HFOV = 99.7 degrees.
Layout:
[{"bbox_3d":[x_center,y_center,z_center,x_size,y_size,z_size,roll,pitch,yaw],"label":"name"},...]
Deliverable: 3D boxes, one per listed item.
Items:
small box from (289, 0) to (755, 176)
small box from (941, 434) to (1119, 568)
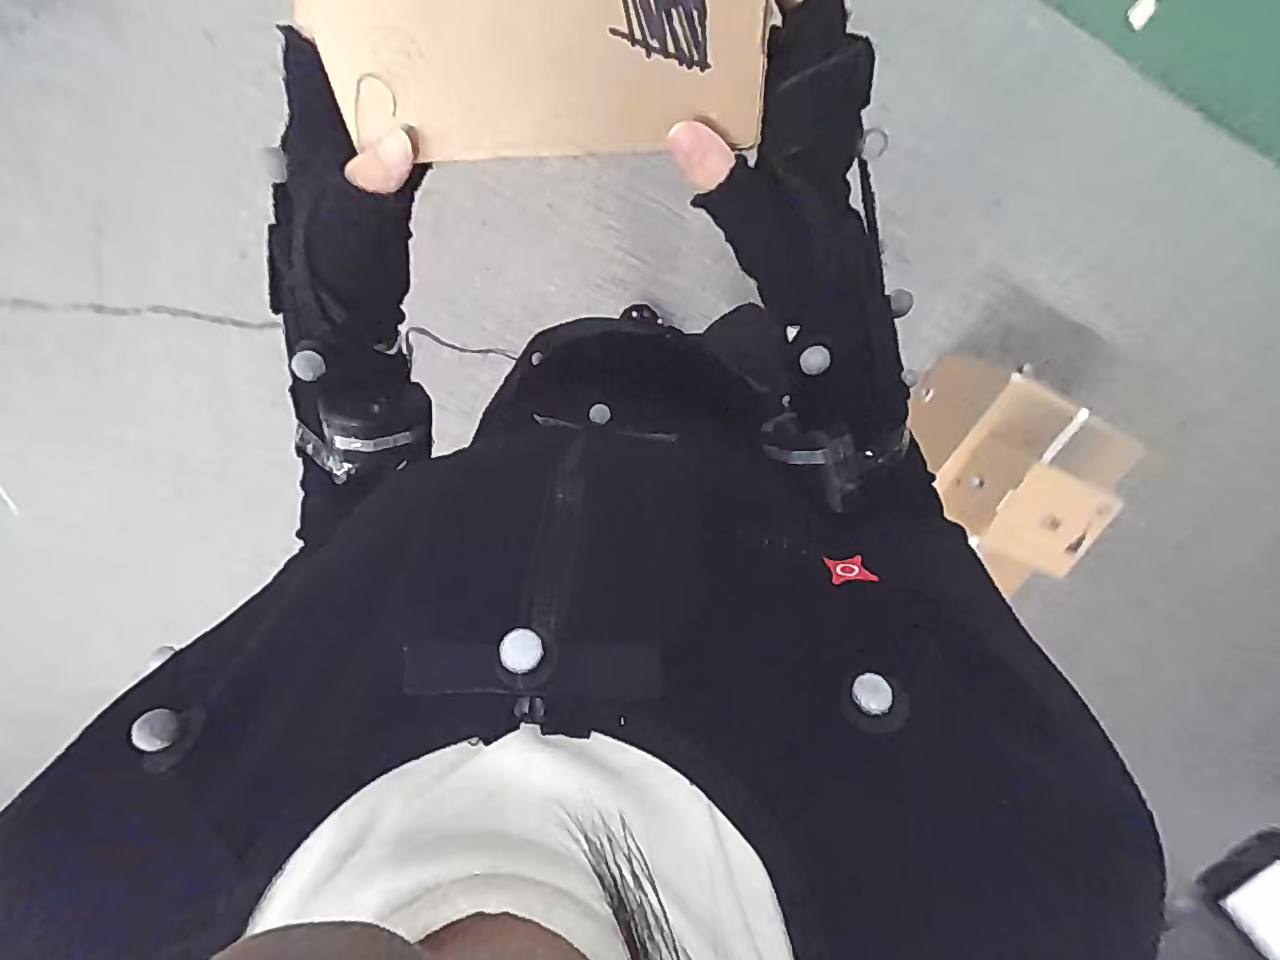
[{"bbox_3d":[-0.043,-0.253,0.235,0.179,0.176,0.168,0,136,7],"label":"small box"},{"bbox_3d":[0.710,0.029,1.013,0.179,0.176,0.168,25,111,-4],"label":"small box"}]
